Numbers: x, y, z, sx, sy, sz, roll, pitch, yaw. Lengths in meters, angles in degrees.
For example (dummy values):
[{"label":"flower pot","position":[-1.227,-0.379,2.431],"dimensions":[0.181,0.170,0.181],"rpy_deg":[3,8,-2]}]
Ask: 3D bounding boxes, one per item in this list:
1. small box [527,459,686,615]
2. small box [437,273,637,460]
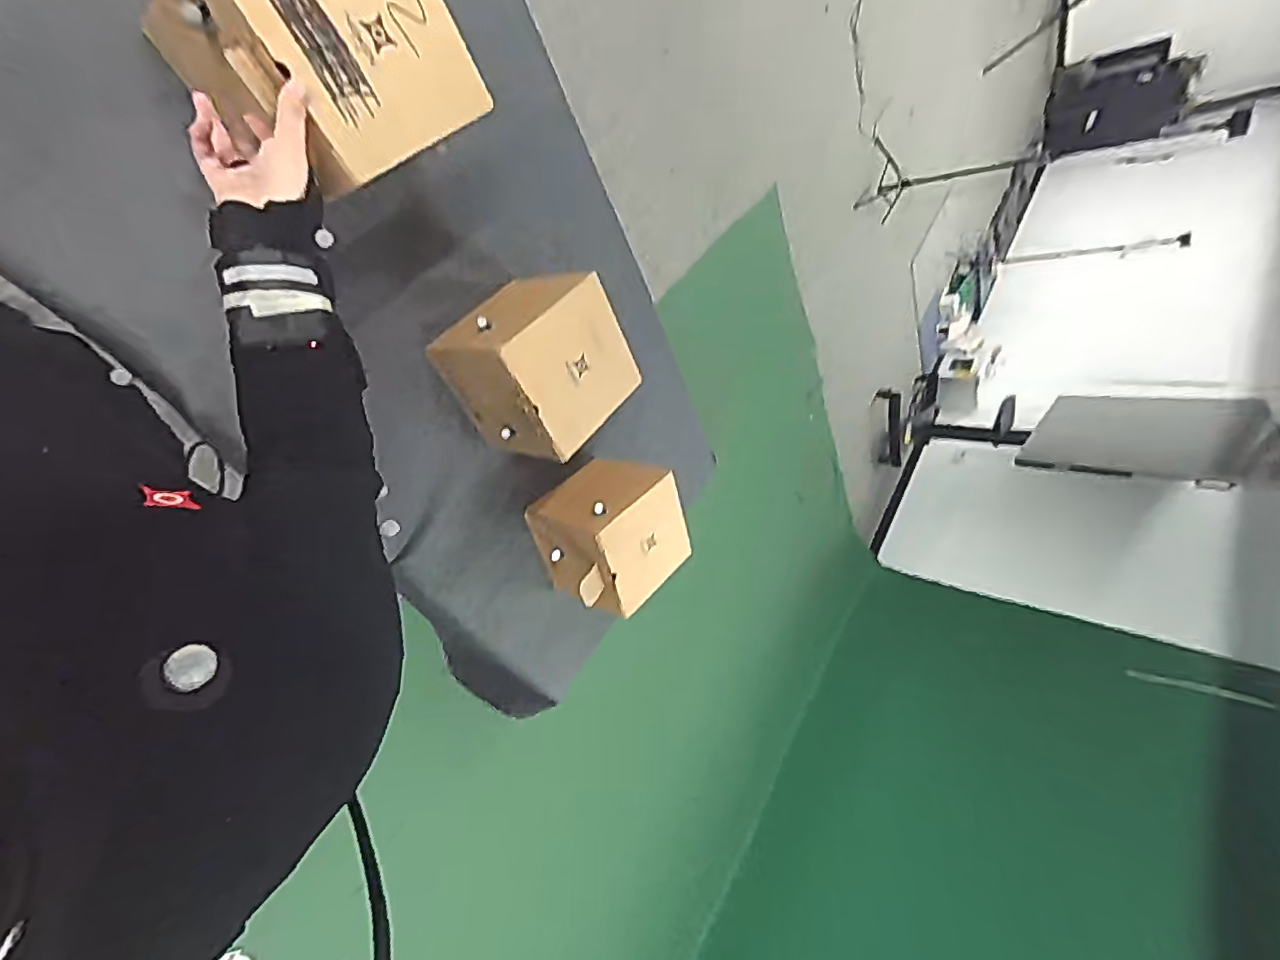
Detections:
[{"label":"small box","position":[-0.052,0.081,0.882],"dimensions":[0.179,0.176,0.168],"rpy_deg":[-40,128,-36]},{"label":"small box","position":[-0.140,-0.152,0.719],"dimensions":[0.179,0.176,0.168],"rpy_deg":[-52,135,-28]}]
